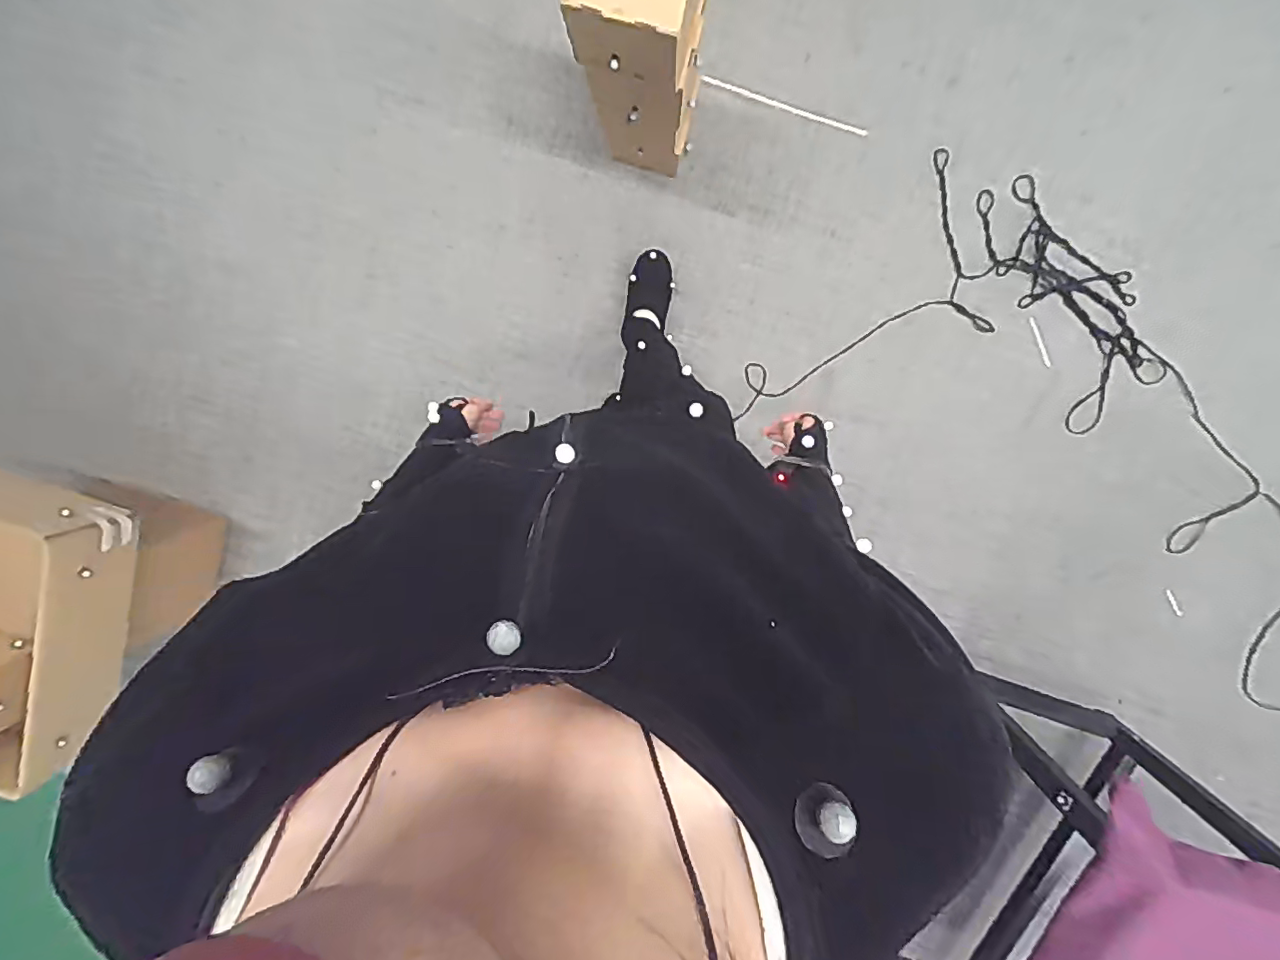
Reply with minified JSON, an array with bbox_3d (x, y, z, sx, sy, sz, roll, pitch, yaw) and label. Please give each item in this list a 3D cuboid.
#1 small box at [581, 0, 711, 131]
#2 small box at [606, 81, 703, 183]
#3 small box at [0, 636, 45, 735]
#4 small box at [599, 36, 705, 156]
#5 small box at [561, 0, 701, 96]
[{"bbox_3d":[0.011,-0.732,0.926,0.179,0.176,0.168,15,102,-2],"label":"small box"},{"bbox_3d":[0.032,-0.813,1.242,0.179,0.176,0.168,17,102,-2],"label":"small box"},{"bbox_3d":[-1.402,0.438,1.116,0.168,0.176,0.179,20,103,-3],"label":"small box"},{"bbox_3d":[0.017,-0.782,1.082,0.179,0.176,0.168,17,103,-2],"label":"small box"},{"bbox_3d":[-0.001,-0.696,0.766,0.168,0.176,0.179,15,104,-1],"label":"small box"}]
